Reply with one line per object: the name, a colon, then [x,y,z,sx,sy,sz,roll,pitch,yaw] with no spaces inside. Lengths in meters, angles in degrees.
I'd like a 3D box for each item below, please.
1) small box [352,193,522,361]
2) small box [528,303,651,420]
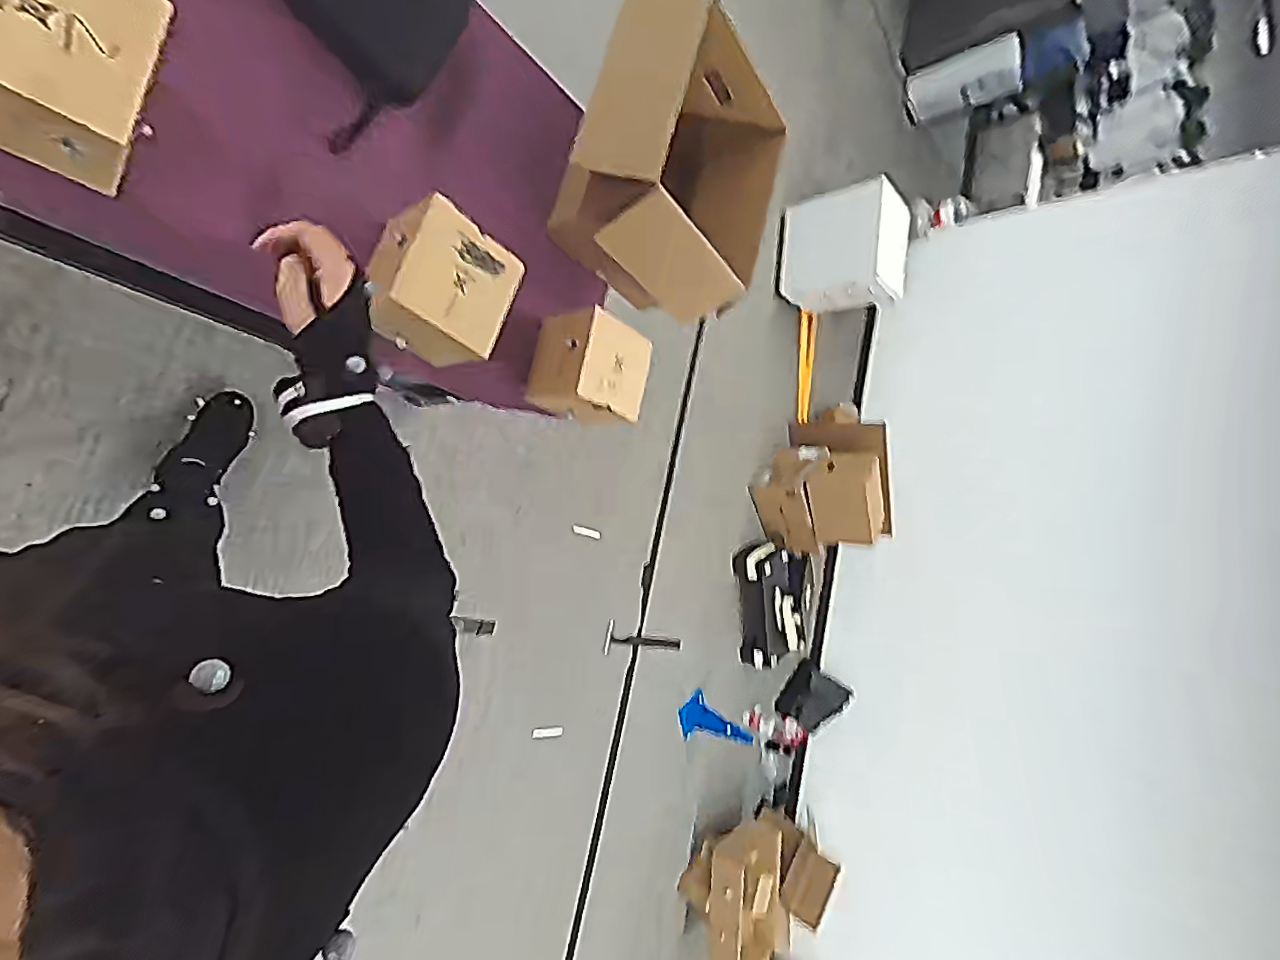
small box: [-0.324,-0.308,0.858,0.168,0.176,0.179,30,73,-44]
small box: [-0.105,-0.231,1.098,0.168,0.176,0.179,20,78,-45]
